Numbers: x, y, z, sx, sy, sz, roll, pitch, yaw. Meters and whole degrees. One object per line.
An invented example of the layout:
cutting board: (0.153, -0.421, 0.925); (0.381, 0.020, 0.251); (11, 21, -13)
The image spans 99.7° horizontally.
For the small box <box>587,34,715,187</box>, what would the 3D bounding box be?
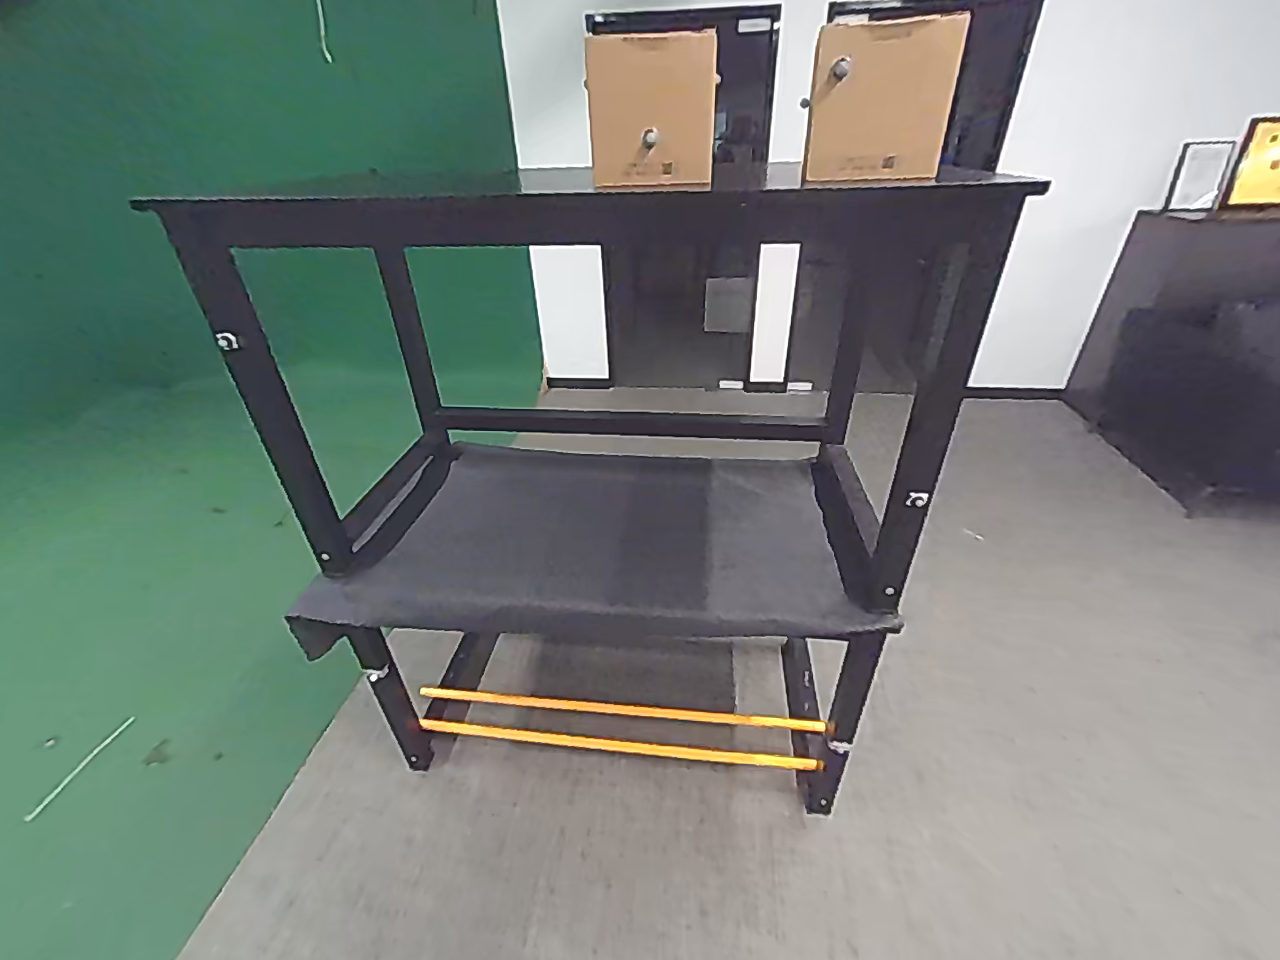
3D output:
small box: (0.018, -0.531, 0.793); (0.168, 0.176, 0.179); (-1, 32, 3)
